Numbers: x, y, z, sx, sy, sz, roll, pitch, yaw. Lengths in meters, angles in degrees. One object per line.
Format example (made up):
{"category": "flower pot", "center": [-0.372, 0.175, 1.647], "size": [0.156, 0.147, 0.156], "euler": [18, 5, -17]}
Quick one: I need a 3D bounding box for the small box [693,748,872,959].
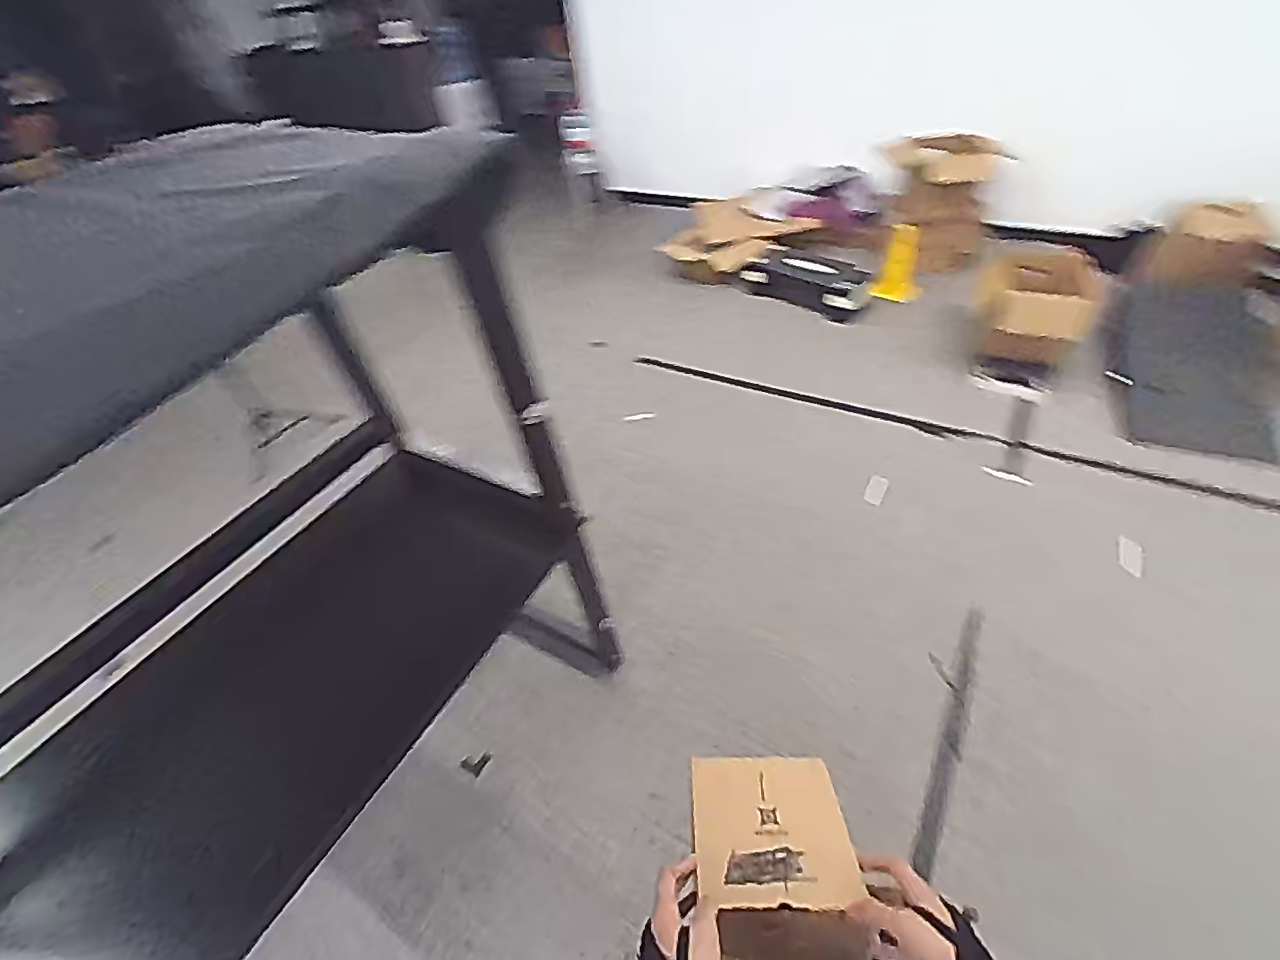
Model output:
{"category": "small box", "center": [0.147, 0.438, 0.617], "size": [0.168, 0.176, 0.179], "euler": [-1, 21, 3]}
